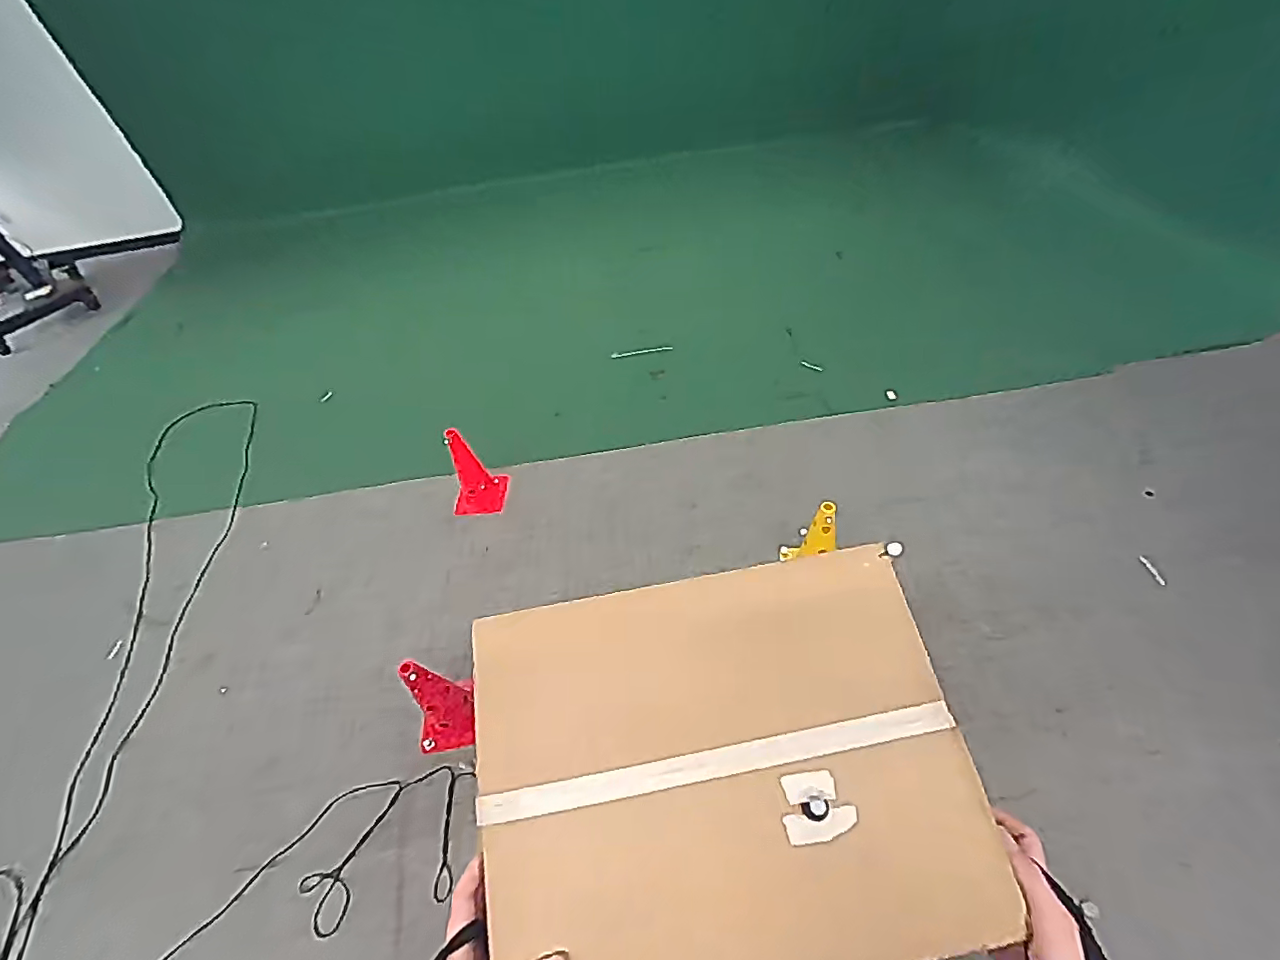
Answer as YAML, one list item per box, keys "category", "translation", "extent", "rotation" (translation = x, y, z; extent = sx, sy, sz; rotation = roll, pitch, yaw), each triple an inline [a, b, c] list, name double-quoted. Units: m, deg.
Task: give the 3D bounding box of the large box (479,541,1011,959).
- category: "large box"
  translation: [0.070, 0.297, 0.604]
  extent: [0.408, 0.320, 0.320]
  rotation: [-11, 66, -3]

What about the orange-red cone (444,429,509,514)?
- category: "orange-red cone"
  translation: [-0.664, -0.054, 2.061]
  extent: [0.199, 0.360, 0.198]
  rotation: [-4, 48, 7]
